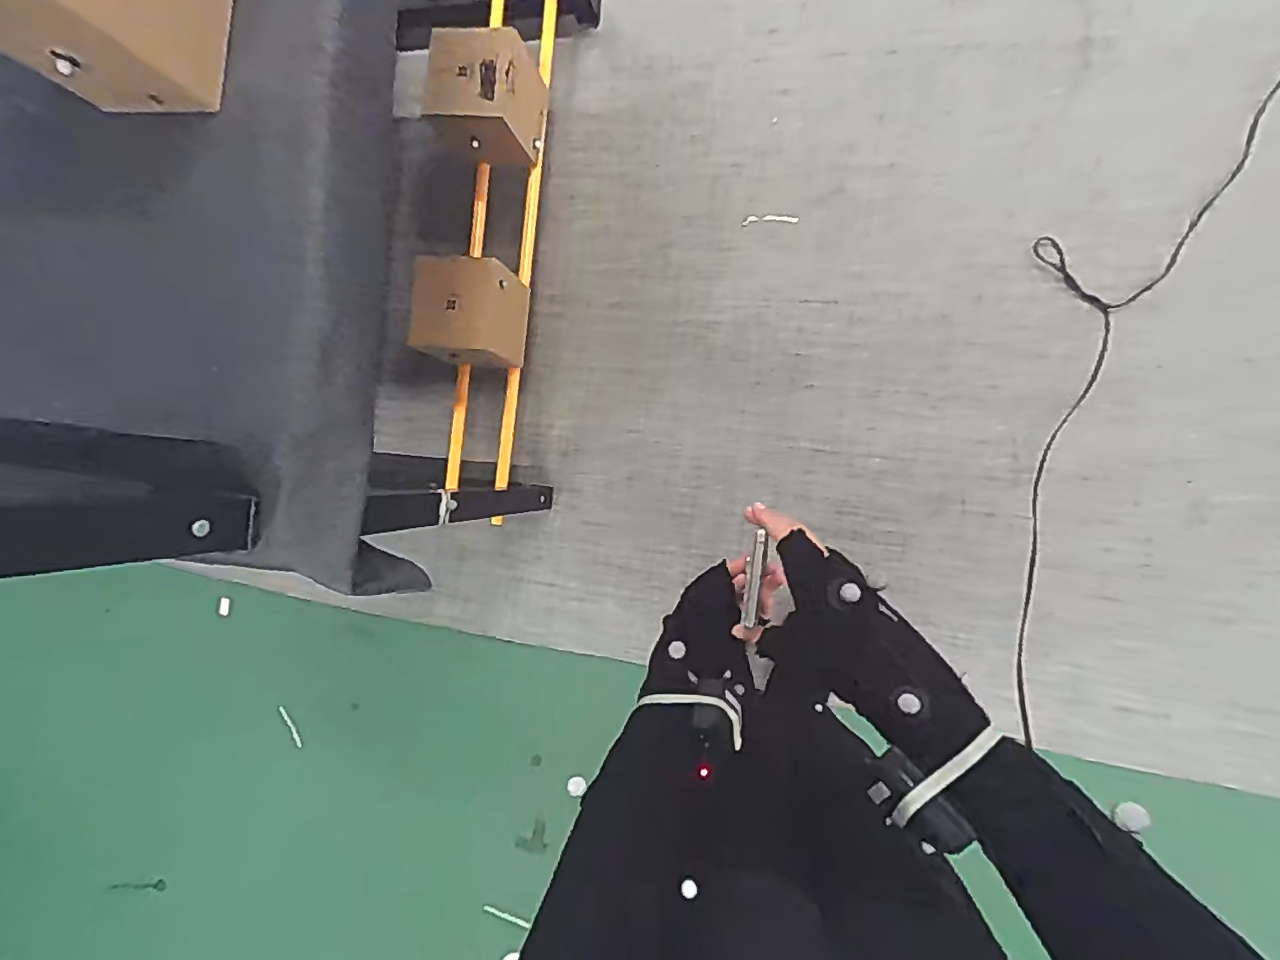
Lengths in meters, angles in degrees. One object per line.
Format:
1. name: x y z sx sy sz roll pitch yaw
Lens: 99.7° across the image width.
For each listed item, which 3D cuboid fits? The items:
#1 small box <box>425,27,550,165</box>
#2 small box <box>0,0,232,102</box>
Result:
1. small box: -0.299 -0.764 1.090 0.179 0.176 0.168 10 92 13
2. small box: -0.518 -0.487 0.500 0.168 0.176 0.179 9 92 13
